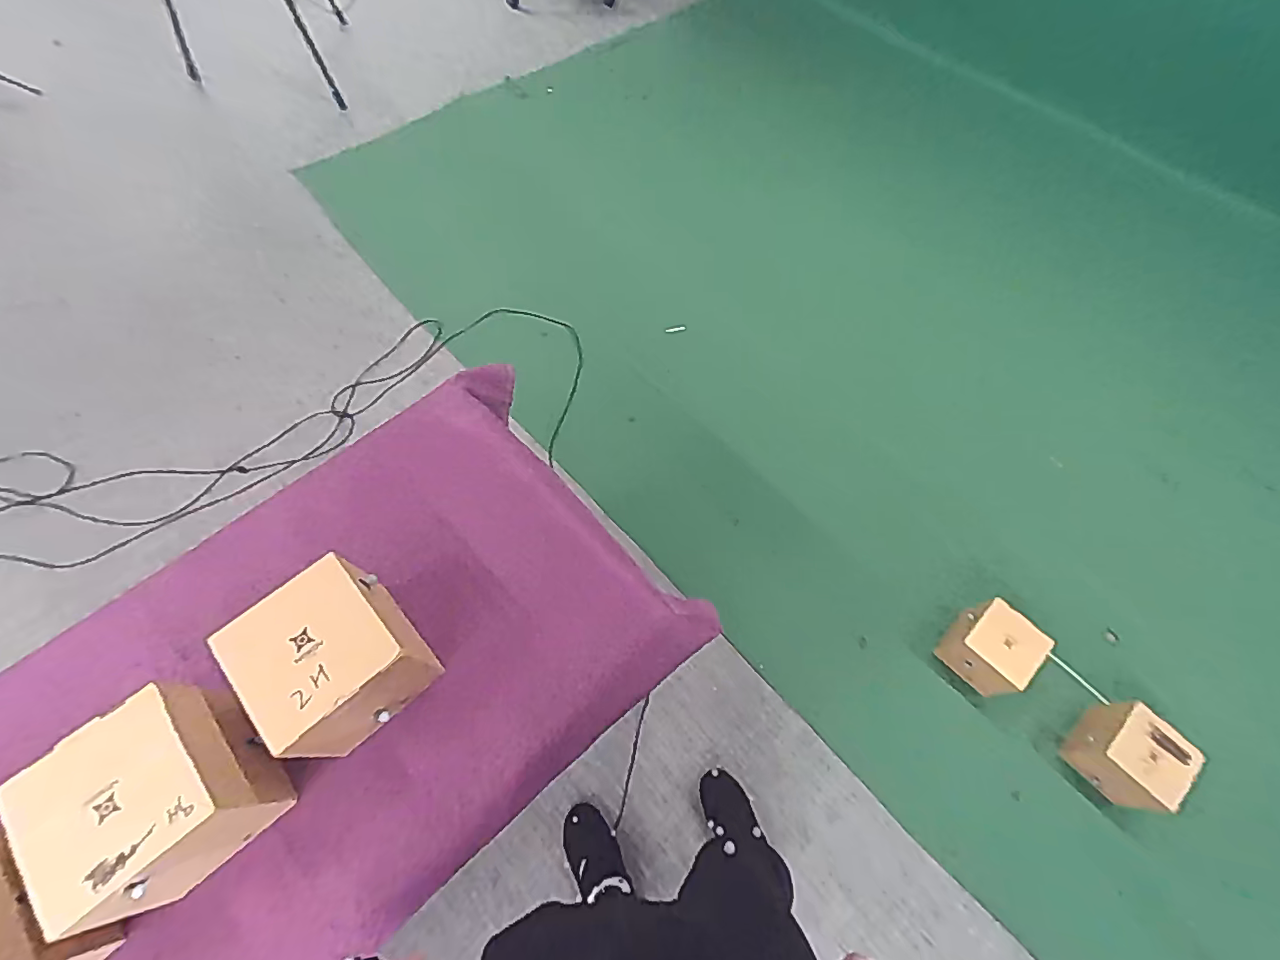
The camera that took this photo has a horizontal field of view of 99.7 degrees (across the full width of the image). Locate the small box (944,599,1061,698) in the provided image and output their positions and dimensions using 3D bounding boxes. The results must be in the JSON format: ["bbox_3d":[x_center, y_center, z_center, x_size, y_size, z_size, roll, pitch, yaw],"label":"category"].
[{"bbox_3d":[0.948,0.453,1.435,0.179,0.176,0.168,-40,70,-19],"label":"small box"}]

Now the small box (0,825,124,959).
[{"bbox_3d":[-0.729,0.504,0.579,0.168,0.176,0.179,-41,71,-18],"label":"small box"}]

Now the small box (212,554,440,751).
[{"bbox_3d":[-0.401,0.234,0.718,0.168,0.176,0.179,-39,70,-17],"label":"small box"}]
